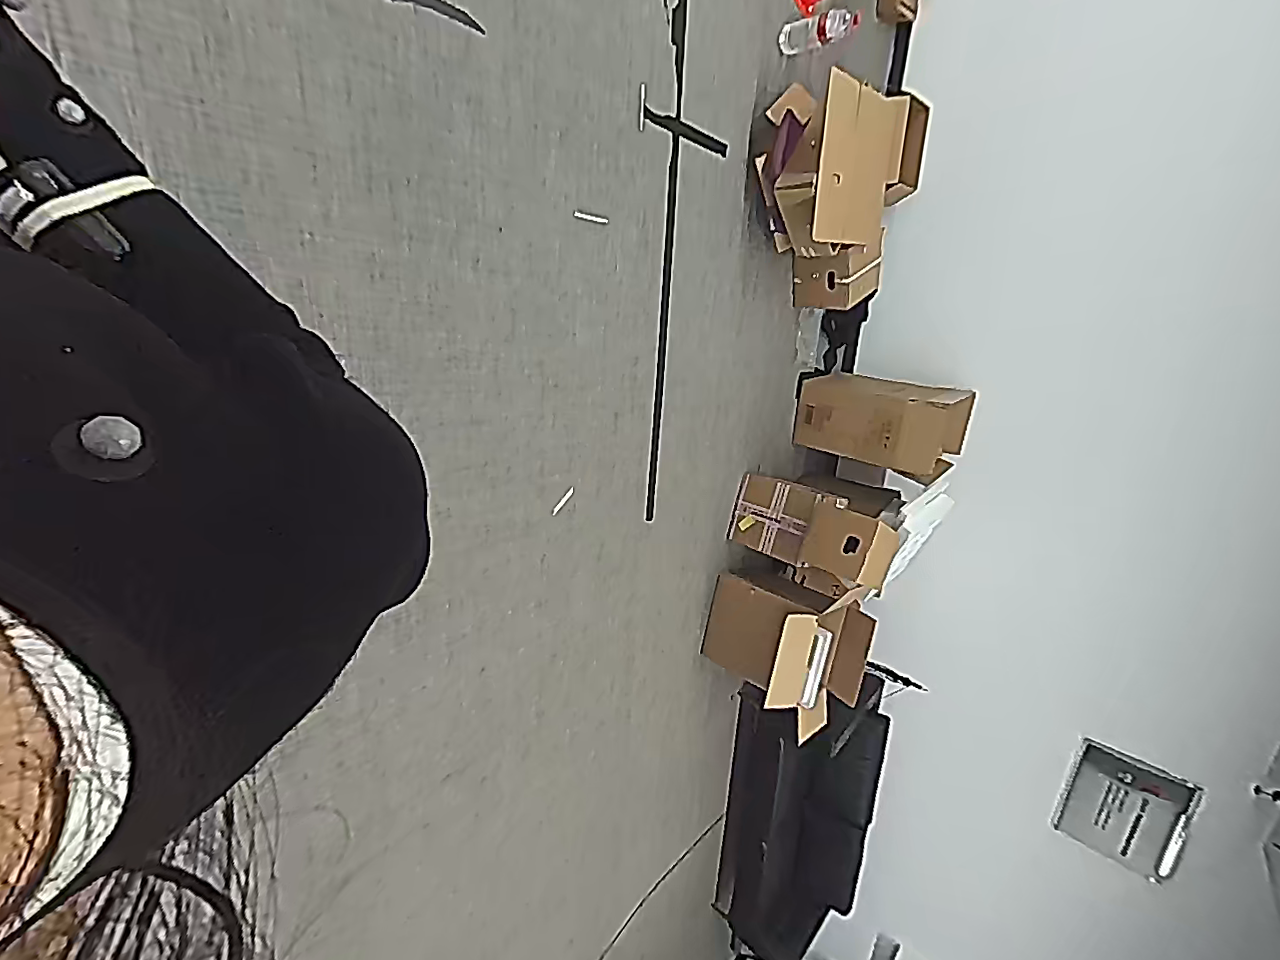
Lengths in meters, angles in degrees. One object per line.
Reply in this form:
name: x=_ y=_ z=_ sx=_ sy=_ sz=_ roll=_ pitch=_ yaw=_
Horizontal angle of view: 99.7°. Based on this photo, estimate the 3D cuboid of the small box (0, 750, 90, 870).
small box: x=-1.115 y=0.618 z=0.951 sx=0.179 sy=0.176 sz=0.168 roll=-12 pitch=112 yaw=-48

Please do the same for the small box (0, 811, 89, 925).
small box: x=-0.999 y=0.661 z=0.844 sx=0.168 sy=0.176 sz=0.179 roll=-13 pitch=113 yaw=-47

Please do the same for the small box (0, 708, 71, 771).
small box: x=-1.242 y=0.584 z=1.049 sx=0.179 sy=0.176 sz=0.168 roll=-16 pitch=115 yaw=-47

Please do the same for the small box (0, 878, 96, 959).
small box: x=-0.874 y=0.701 z=0.744 sx=0.168 sy=0.176 sz=0.179 roll=-14 pitch=115 yaw=-47
